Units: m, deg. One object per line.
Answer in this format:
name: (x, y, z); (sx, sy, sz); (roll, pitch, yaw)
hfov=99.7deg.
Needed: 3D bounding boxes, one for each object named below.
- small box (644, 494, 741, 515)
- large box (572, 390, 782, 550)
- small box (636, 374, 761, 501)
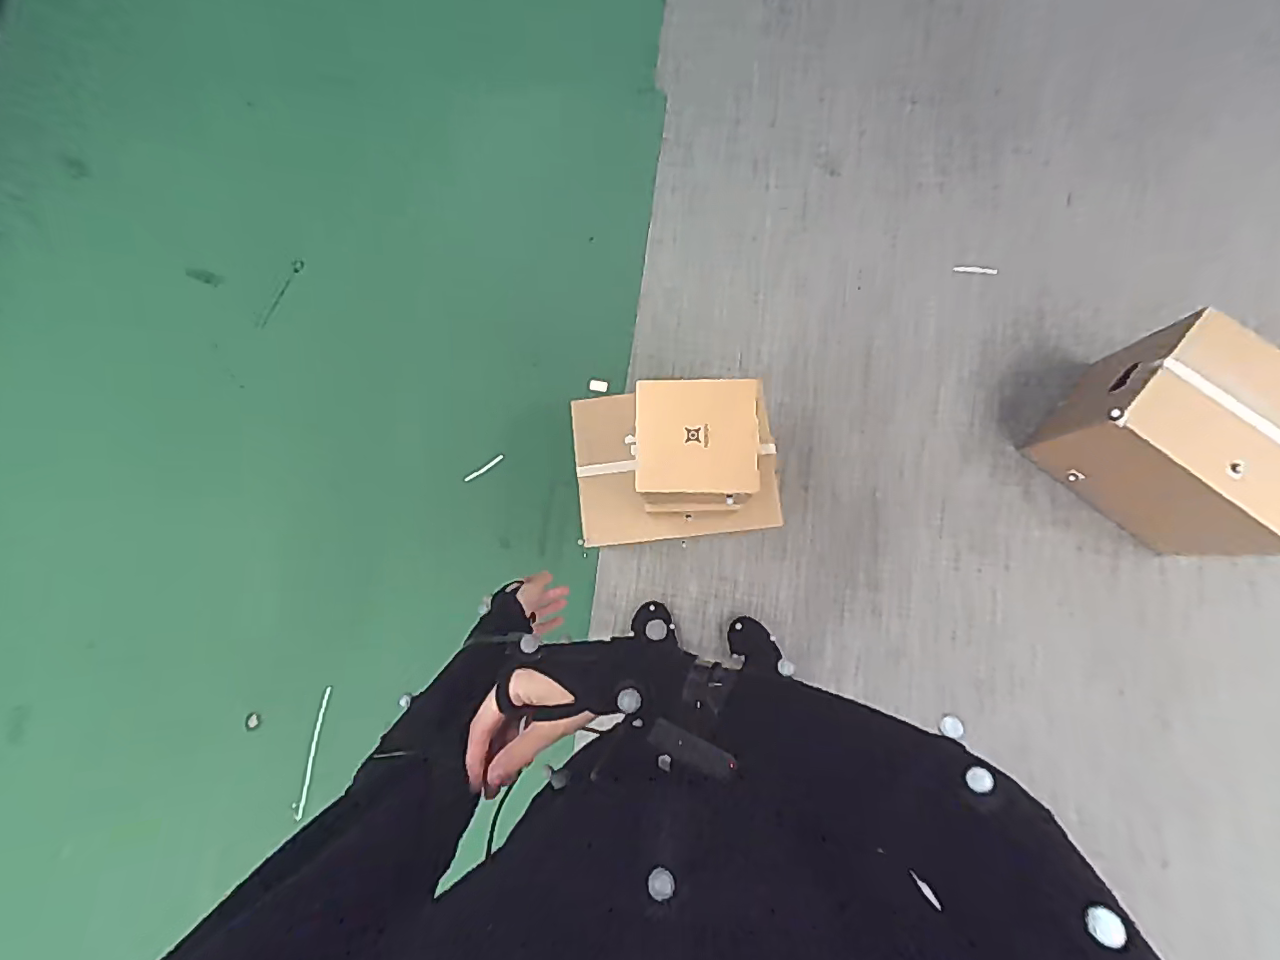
small box: (0.094, -0.026, 0.999); (0.168, 0.176, 0.179); (-1, 81, 3)
large box: (0.083, -0.015, 1.248); (0.408, 0.320, 0.320); (-7, 80, 4)
small box: (0.088, -0.057, 0.839); (0.179, 0.176, 0.168); (0, 82, 3)
